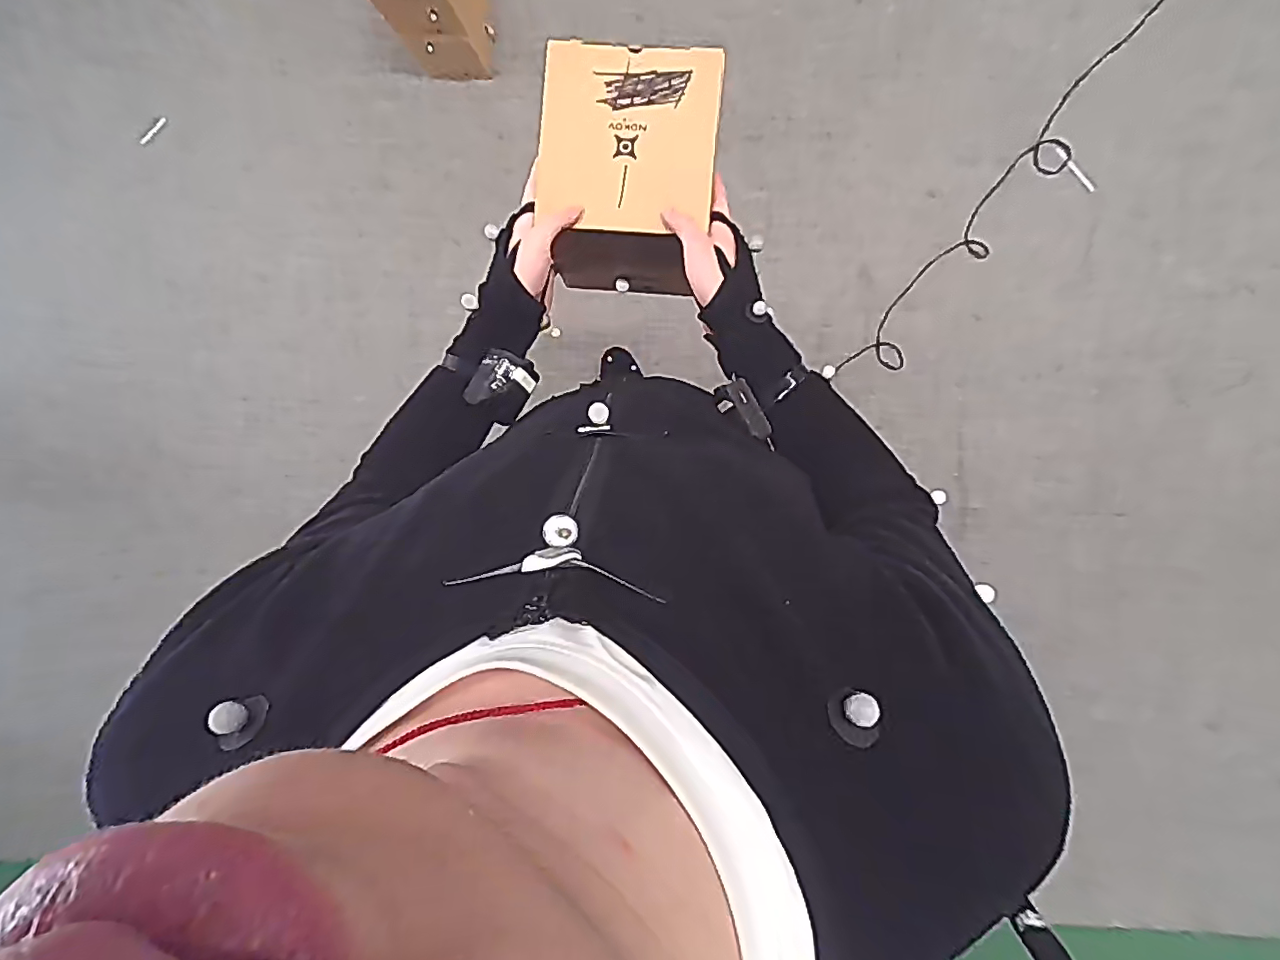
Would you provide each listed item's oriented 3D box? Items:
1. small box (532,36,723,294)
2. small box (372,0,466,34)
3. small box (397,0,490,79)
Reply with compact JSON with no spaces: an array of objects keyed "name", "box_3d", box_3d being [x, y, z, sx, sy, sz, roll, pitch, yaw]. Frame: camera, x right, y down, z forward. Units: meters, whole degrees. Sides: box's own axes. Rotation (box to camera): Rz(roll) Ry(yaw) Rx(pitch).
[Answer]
[{"name":"small box","box_3d":[-0.009,-0.320,0.580,0.168,0.176,0.179,5,90,3]},{"name":"small box","box_3d":[-0.476,-1.083,1.140,0.168,0.176,0.179,1,99,2]},{"name":"small box","box_3d":[-0.467,-1.111,1.299,0.168,0.176,0.179,3,100,3]}]
